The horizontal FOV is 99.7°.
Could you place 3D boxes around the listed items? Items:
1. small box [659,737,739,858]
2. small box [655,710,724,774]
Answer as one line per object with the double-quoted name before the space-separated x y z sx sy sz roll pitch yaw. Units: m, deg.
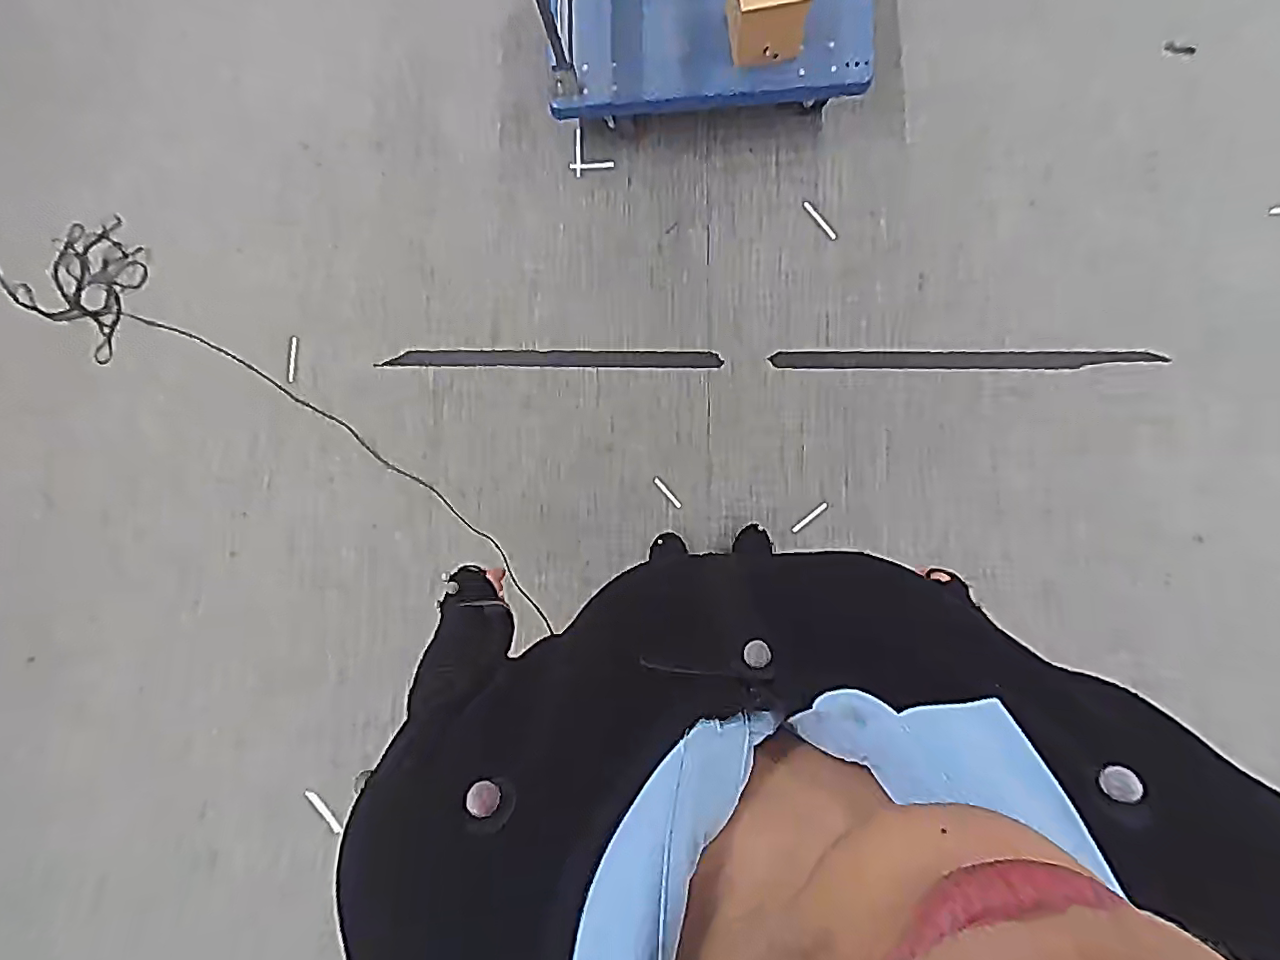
"small box" 0.132 0.700 1.209 0.168 0.176 0.179 1 84 4
"small box" 0.137 0.709 1.372 0.168 0.176 0.179 -11 83 2
